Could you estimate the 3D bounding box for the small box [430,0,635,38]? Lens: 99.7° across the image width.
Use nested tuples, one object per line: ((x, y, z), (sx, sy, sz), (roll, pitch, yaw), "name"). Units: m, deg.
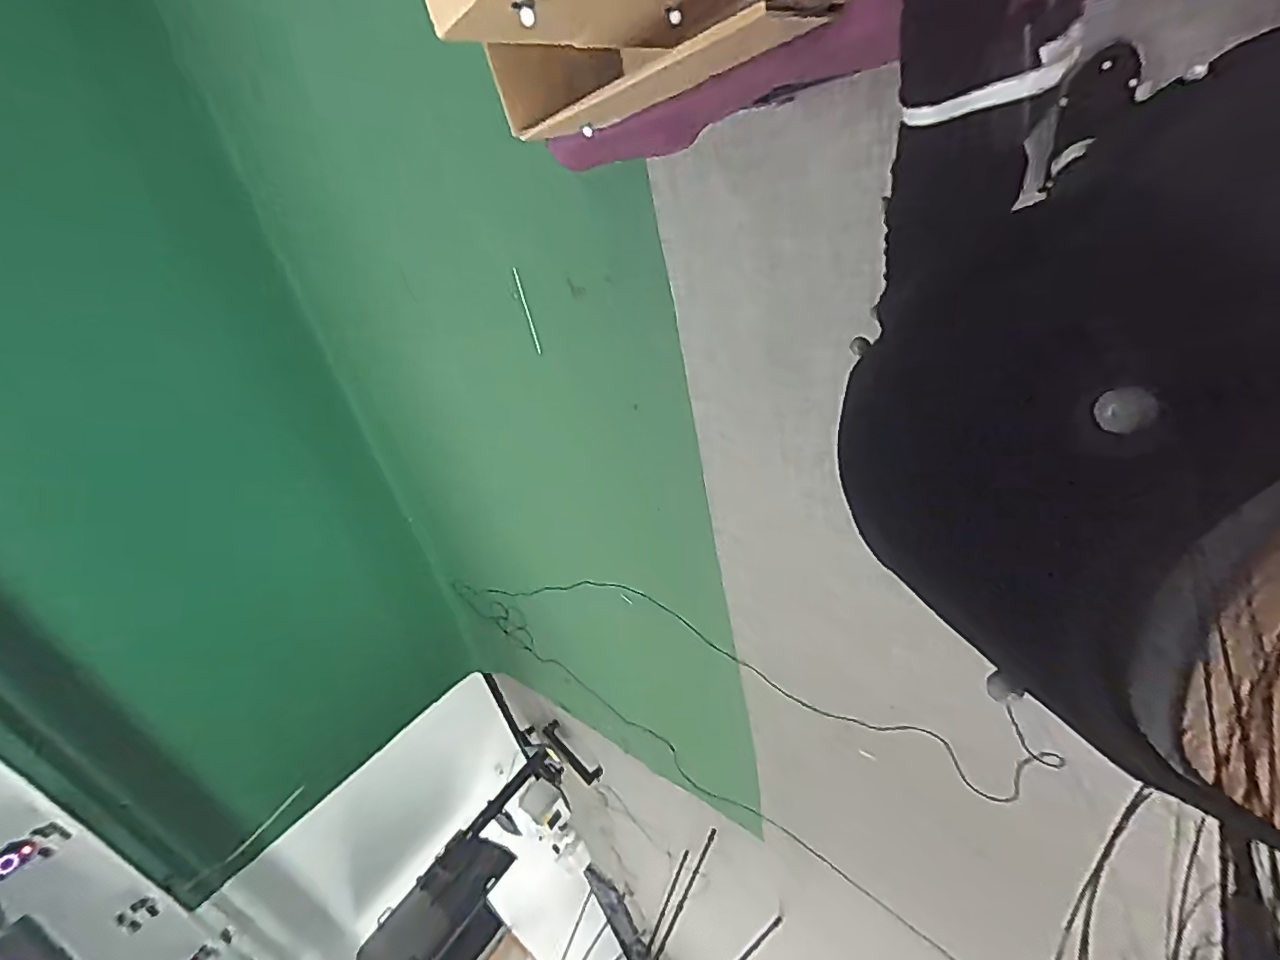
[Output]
((-0.084, -0.499, 0.451), (0.179, 0.176, 0.168), (9, 125, 41), "small box")
